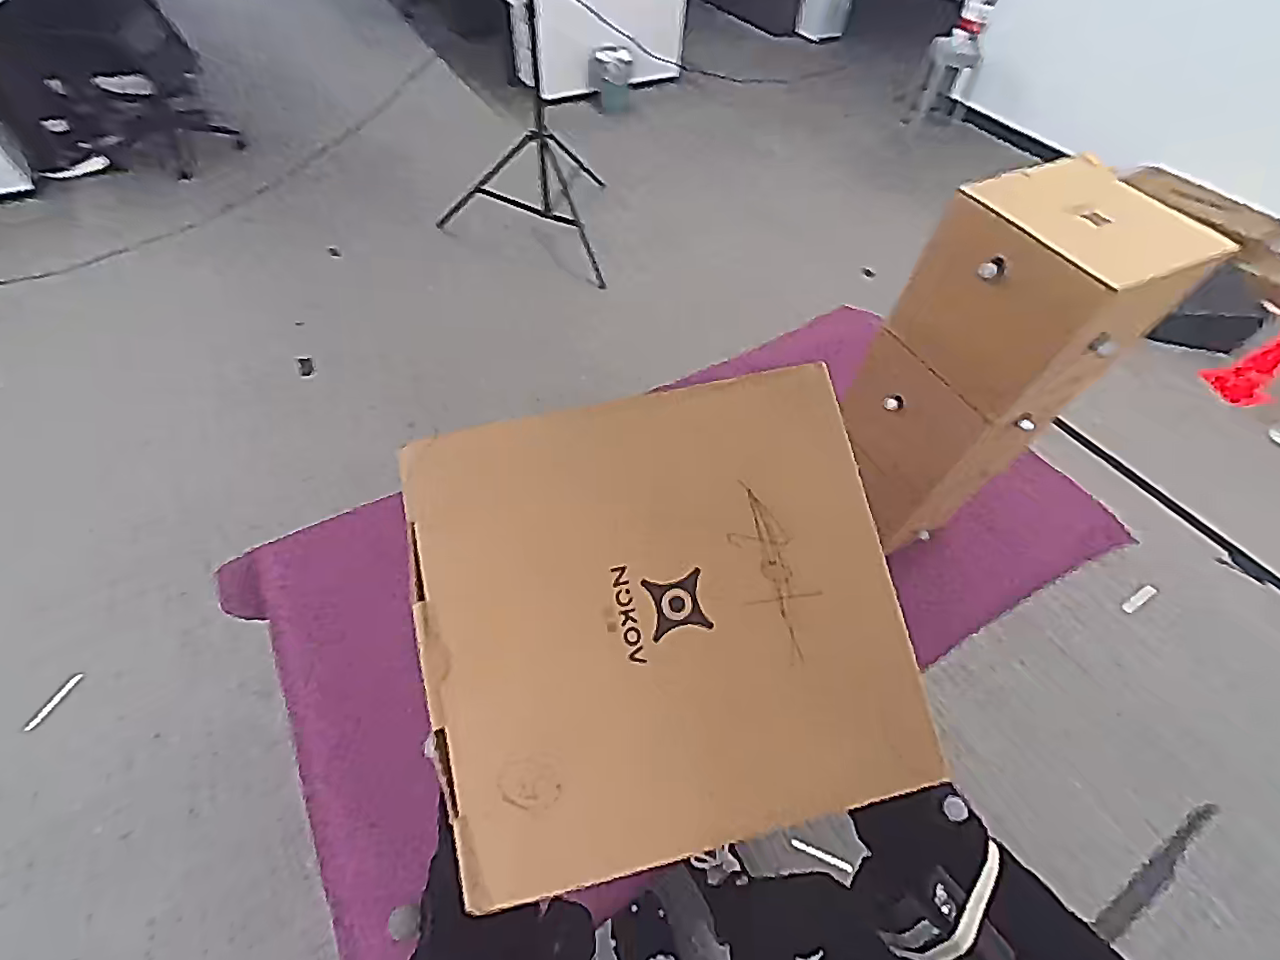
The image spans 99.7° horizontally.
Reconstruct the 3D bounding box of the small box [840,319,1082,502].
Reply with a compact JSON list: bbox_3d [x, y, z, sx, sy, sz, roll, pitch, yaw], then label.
[{"bbox_3d":[0.390,-0.102,0.691,0.168,0.176,0.179,-21,58,-16],"label":"small box"}]

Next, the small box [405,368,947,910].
[{"bbox_3d":[0.006,0.063,0.279,0.179,0.176,0.168,-12,81,-7],"label":"small box"}]

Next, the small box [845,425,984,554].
[{"bbox_3d":[0.380,-0.011,0.827,0.168,0.176,0.179,-23,59,-17],"label":"small box"}]

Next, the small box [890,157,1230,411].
[{"bbox_3d":[0.402,-0.192,0.555,0.168,0.176,0.179,-21,58,-16],"label":"small box"}]
